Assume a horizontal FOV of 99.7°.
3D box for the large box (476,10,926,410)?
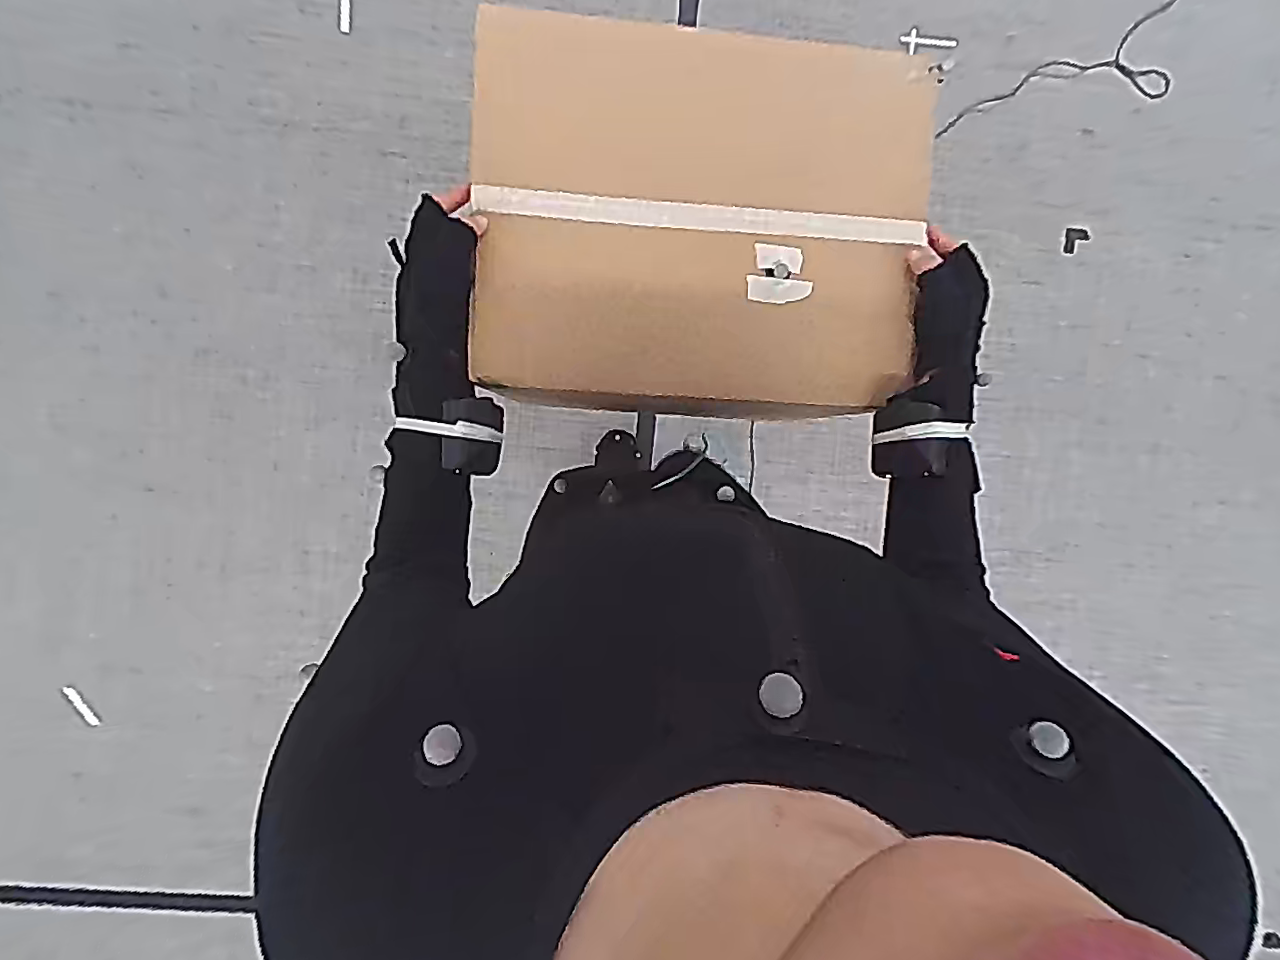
[{"bbox_3d":[0.042,-0.251,0.632,0.408,0.320,0.320,3,96,-6],"label":"large box"}]
